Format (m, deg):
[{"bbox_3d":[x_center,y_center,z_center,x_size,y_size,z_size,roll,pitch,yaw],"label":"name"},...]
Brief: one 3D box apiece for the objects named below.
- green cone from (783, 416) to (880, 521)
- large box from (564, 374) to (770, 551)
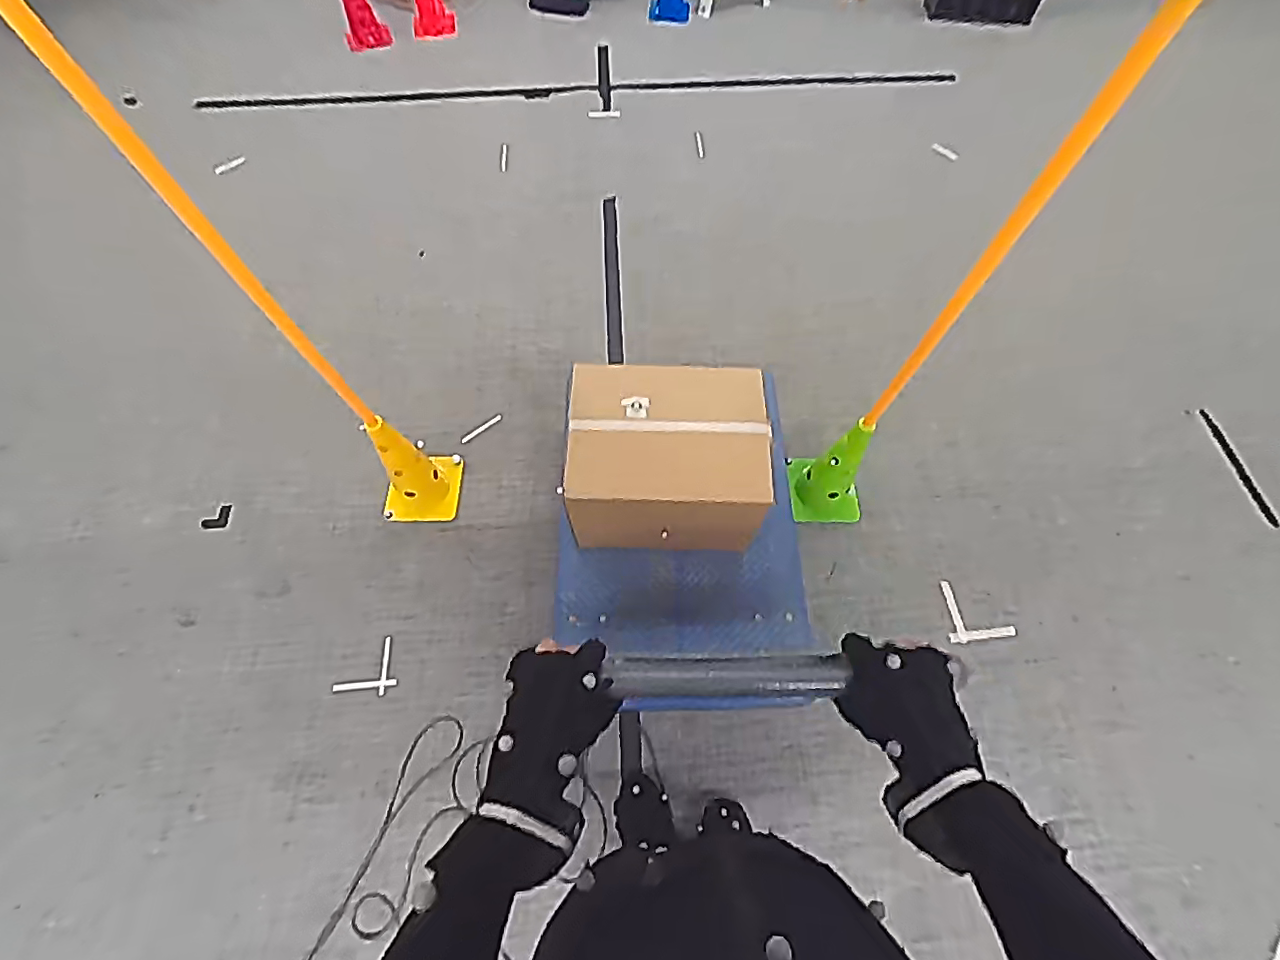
[{"bbox_3d":[0.523,-0.050,1.403,0.202,0.368,0.200,1,64,-1],"label":"green cone"},{"bbox_3d":[0.055,-0.027,1.230,0.408,0.320,0.320,1,65,1],"label":"large box"}]
